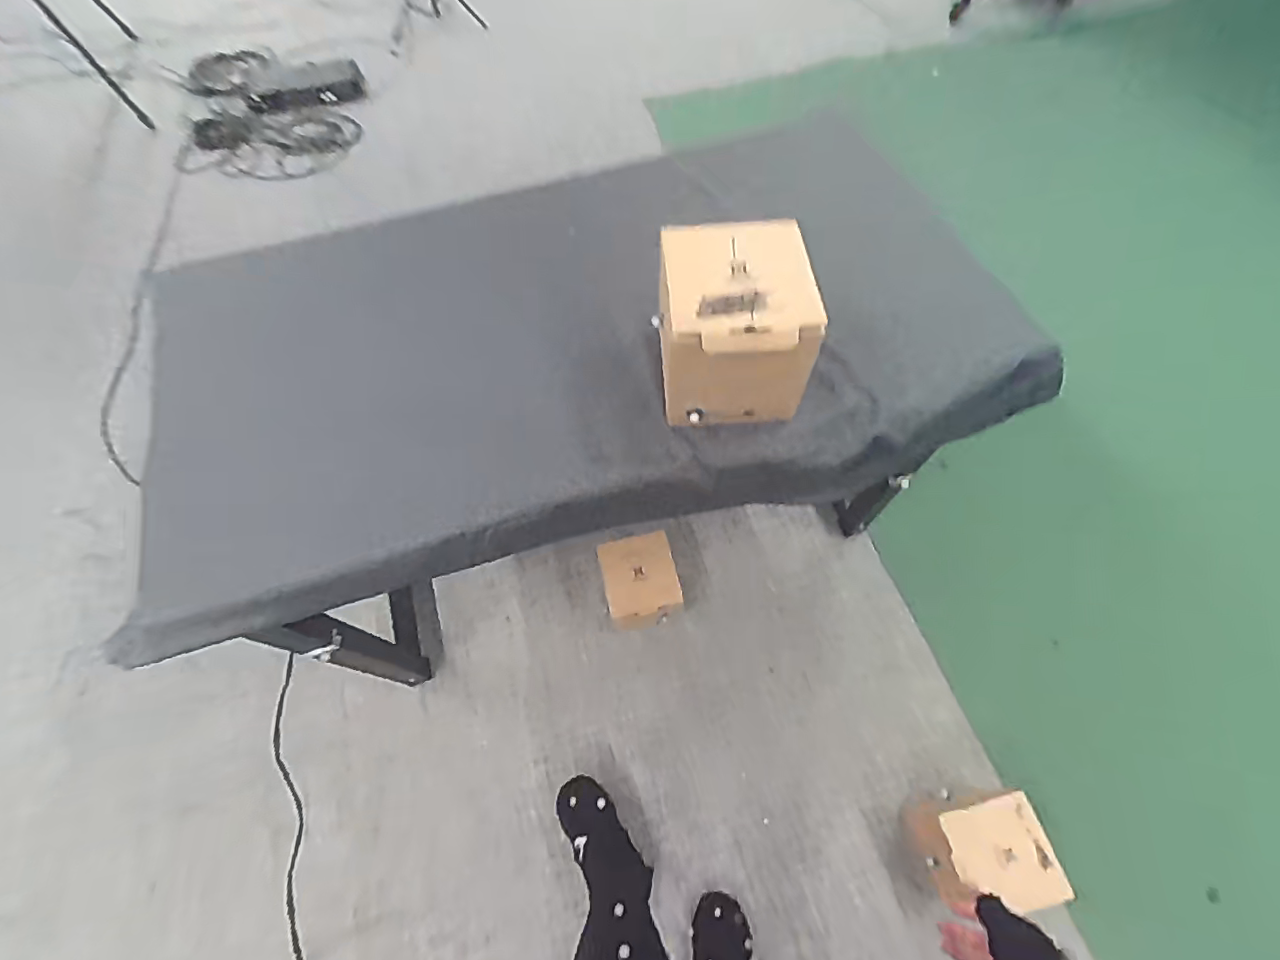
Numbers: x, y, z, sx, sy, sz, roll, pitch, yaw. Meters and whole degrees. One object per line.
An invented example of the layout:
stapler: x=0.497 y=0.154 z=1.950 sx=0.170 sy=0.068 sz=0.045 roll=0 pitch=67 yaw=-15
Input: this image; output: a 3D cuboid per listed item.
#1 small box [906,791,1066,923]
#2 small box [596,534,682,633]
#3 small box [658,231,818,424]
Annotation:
small box: x=0.638 y=0.706 z=1.031 sx=0.179 sy=0.176 sz=0.168 roll=-12 pitch=63 yaw=-4
small box: x=-0.001 y=0.252 z=1.283 sx=0.168 sy=0.176 sz=0.179 roll=-12 pitch=62 yaw=-6
small box: x=0.110 y=-0.182 z=0.683 sx=0.168 sy=0.176 sz=0.179 roll=-3 pitch=61 yaw=0
